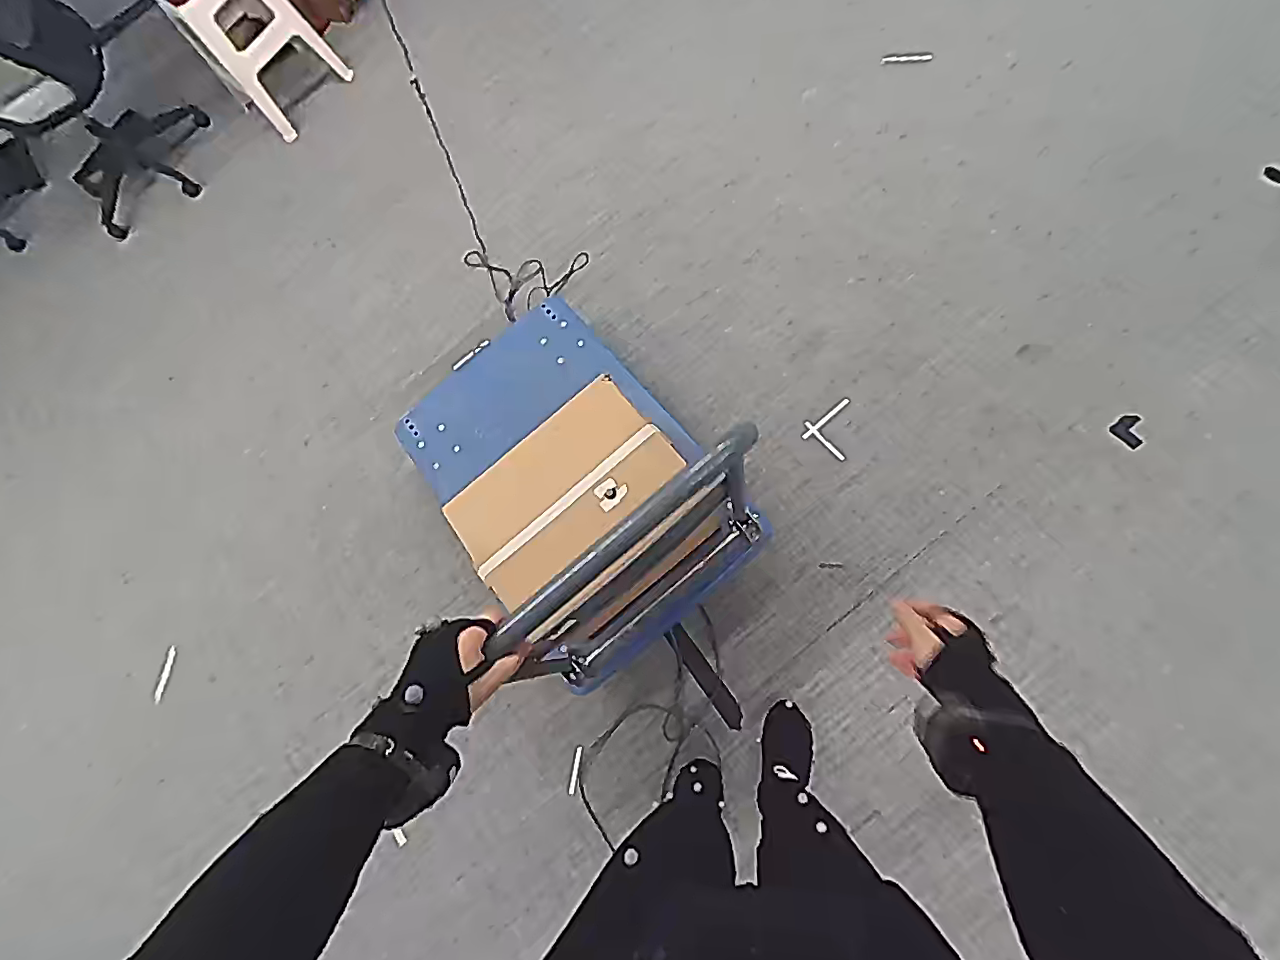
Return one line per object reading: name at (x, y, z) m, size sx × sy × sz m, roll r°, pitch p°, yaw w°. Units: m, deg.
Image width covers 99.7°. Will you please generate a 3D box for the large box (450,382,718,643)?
large box at (-0.094, 0.088, 1.119) m, size 0.408 × 0.320 × 0.320 m, roll -40°, pitch 71°, yaw -2°
